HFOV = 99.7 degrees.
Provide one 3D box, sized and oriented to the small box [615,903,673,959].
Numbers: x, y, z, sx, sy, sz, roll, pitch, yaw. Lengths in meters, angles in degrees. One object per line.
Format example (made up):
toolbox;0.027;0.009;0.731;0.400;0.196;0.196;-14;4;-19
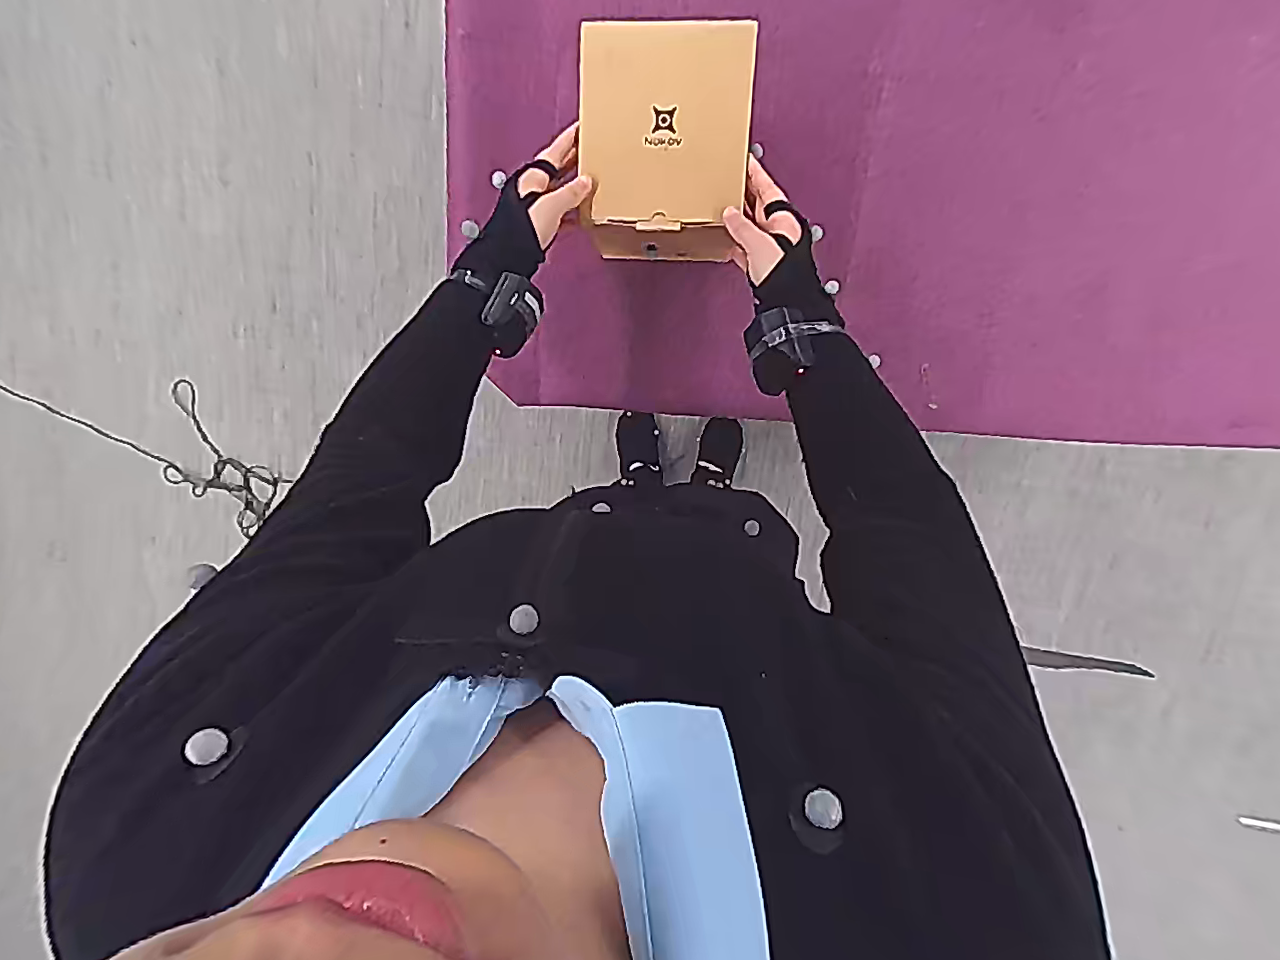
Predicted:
small box;0.013;1.434;1.639;0.168;0.176;0.179;2;101;6
